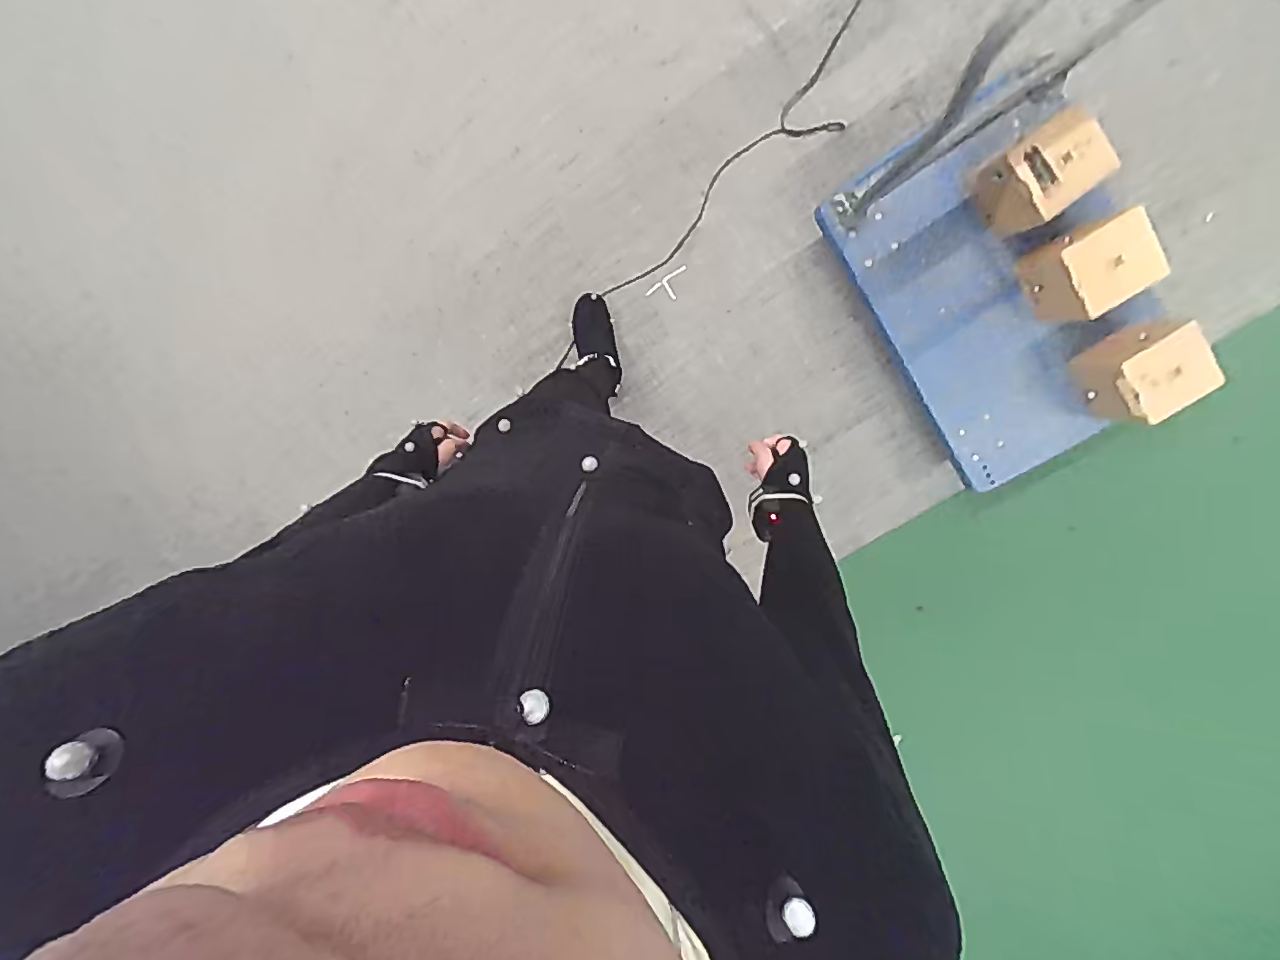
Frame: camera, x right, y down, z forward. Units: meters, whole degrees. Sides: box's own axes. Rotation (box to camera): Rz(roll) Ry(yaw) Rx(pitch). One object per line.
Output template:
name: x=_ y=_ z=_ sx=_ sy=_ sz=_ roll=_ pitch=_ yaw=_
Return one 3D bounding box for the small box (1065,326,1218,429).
small box: x=1.171 y=-0.242 z=1.276 sx=0.179 sy=0.176 sz=0.168 roll=-33 pitch=98 yaw=9

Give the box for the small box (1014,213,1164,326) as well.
small box: x=1.013 y=-0.470 z=1.234 sx=0.179 sy=0.176 sz=0.168 roll=-32 pitch=100 yaw=10
